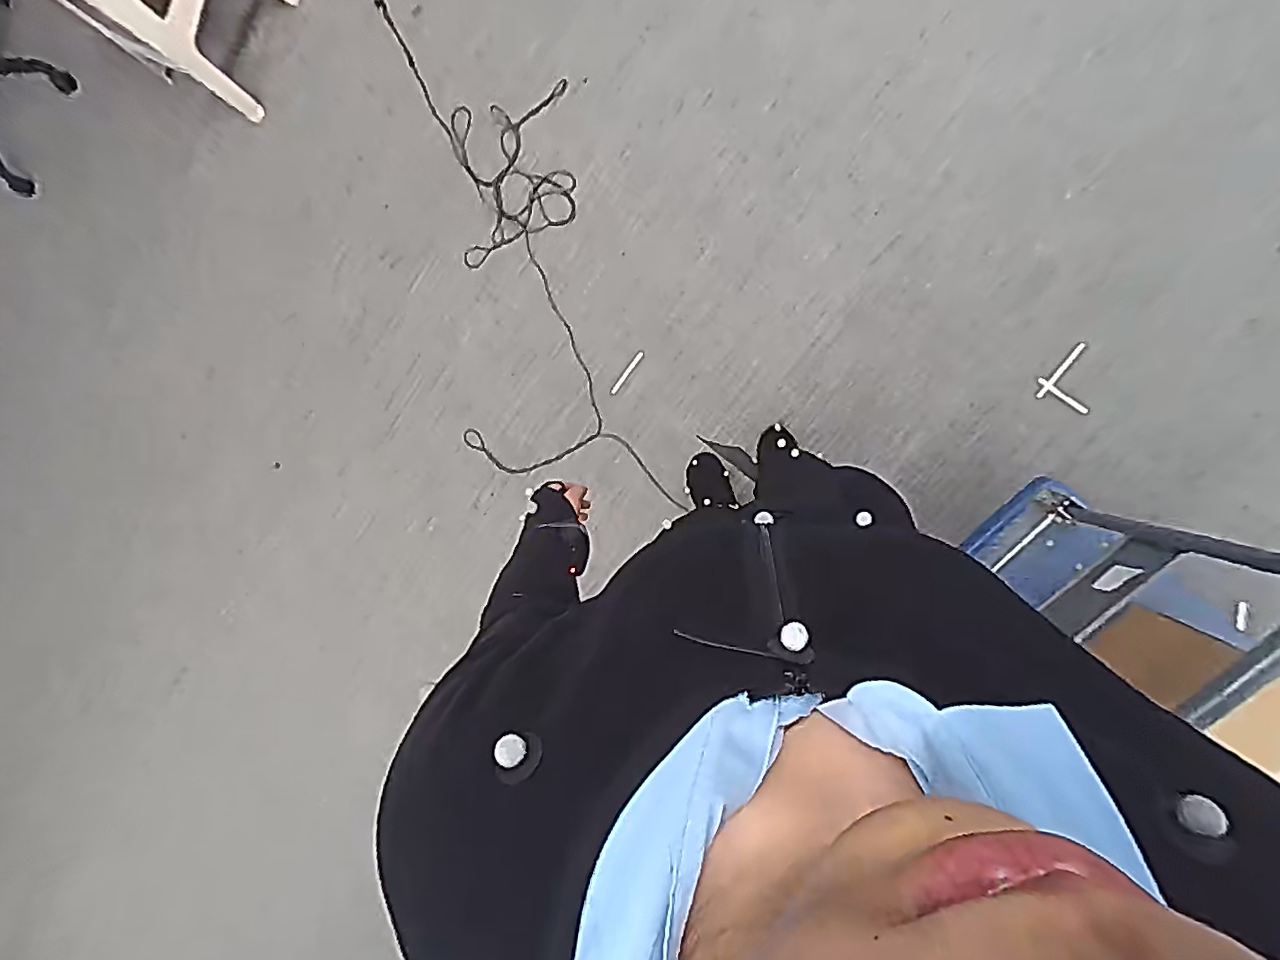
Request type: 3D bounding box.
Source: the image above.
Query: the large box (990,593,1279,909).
[{"bbox_3d":[1.025,0.503,1.077,0.320,0.320,0.408,42,100,4],"label":"large box"}]
